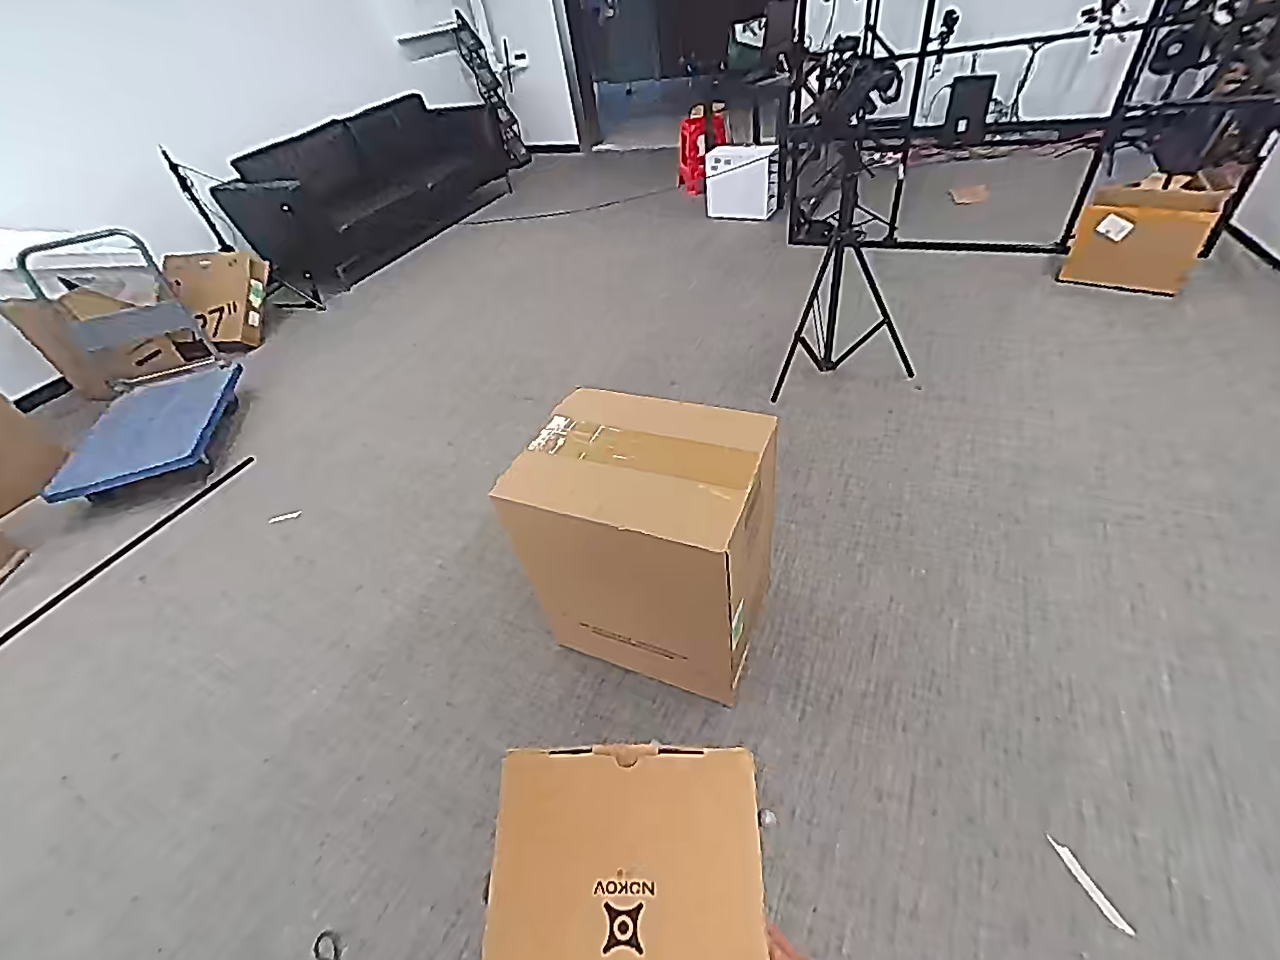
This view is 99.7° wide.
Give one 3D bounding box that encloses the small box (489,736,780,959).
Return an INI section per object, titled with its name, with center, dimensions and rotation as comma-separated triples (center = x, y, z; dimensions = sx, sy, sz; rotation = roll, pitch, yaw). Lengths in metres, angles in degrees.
[small box]
center = 0.004, 0.283, 0.380
dimensions = 0.168, 0.176, 0.179
rotation = -2, 59, 4
